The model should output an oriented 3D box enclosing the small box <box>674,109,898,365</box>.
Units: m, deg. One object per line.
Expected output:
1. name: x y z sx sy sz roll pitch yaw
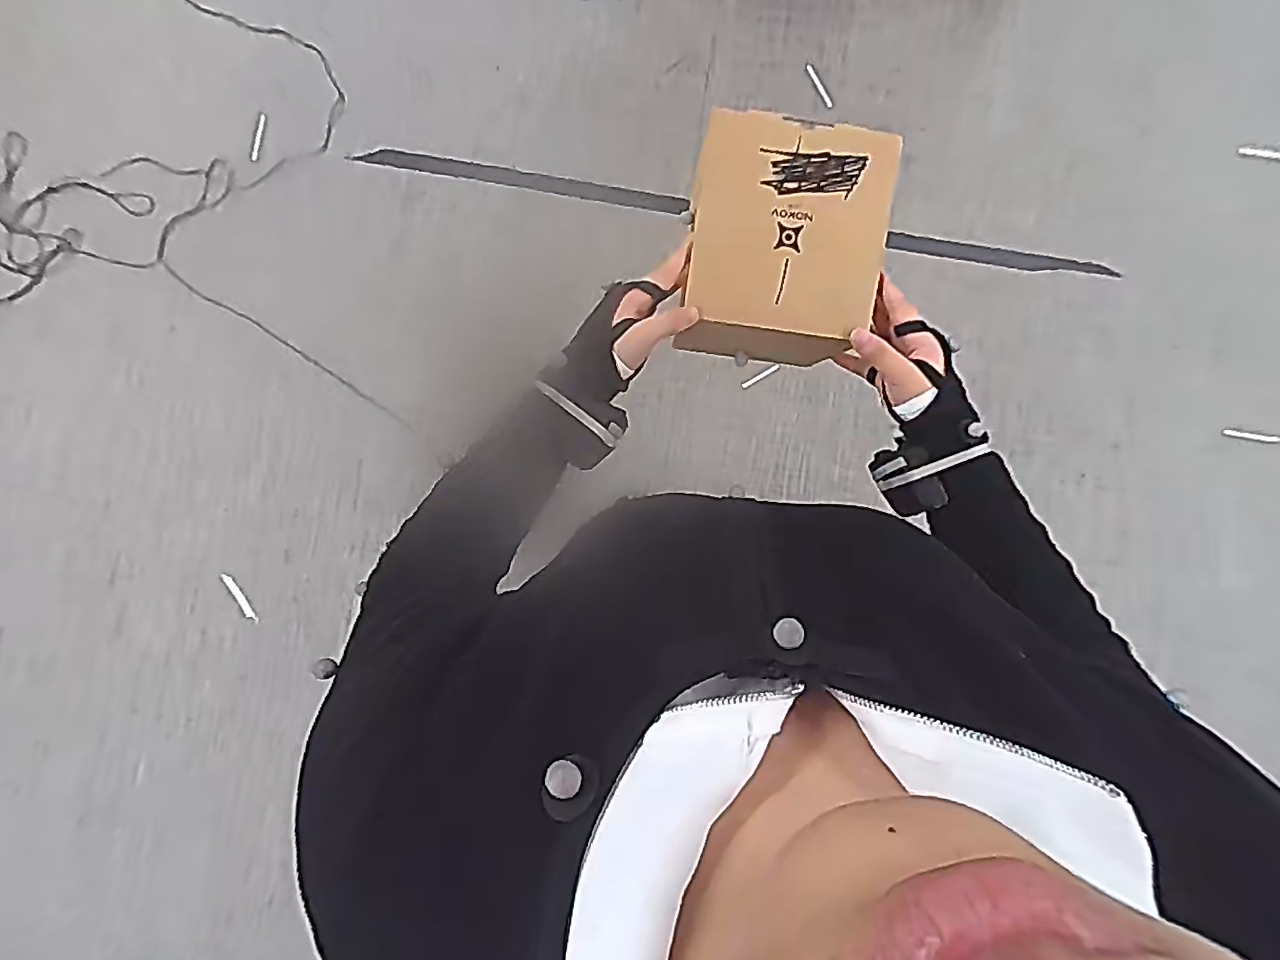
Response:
1. small box: 0.129 -0.224 0.545 0.168 0.176 0.179 8 95 -1
